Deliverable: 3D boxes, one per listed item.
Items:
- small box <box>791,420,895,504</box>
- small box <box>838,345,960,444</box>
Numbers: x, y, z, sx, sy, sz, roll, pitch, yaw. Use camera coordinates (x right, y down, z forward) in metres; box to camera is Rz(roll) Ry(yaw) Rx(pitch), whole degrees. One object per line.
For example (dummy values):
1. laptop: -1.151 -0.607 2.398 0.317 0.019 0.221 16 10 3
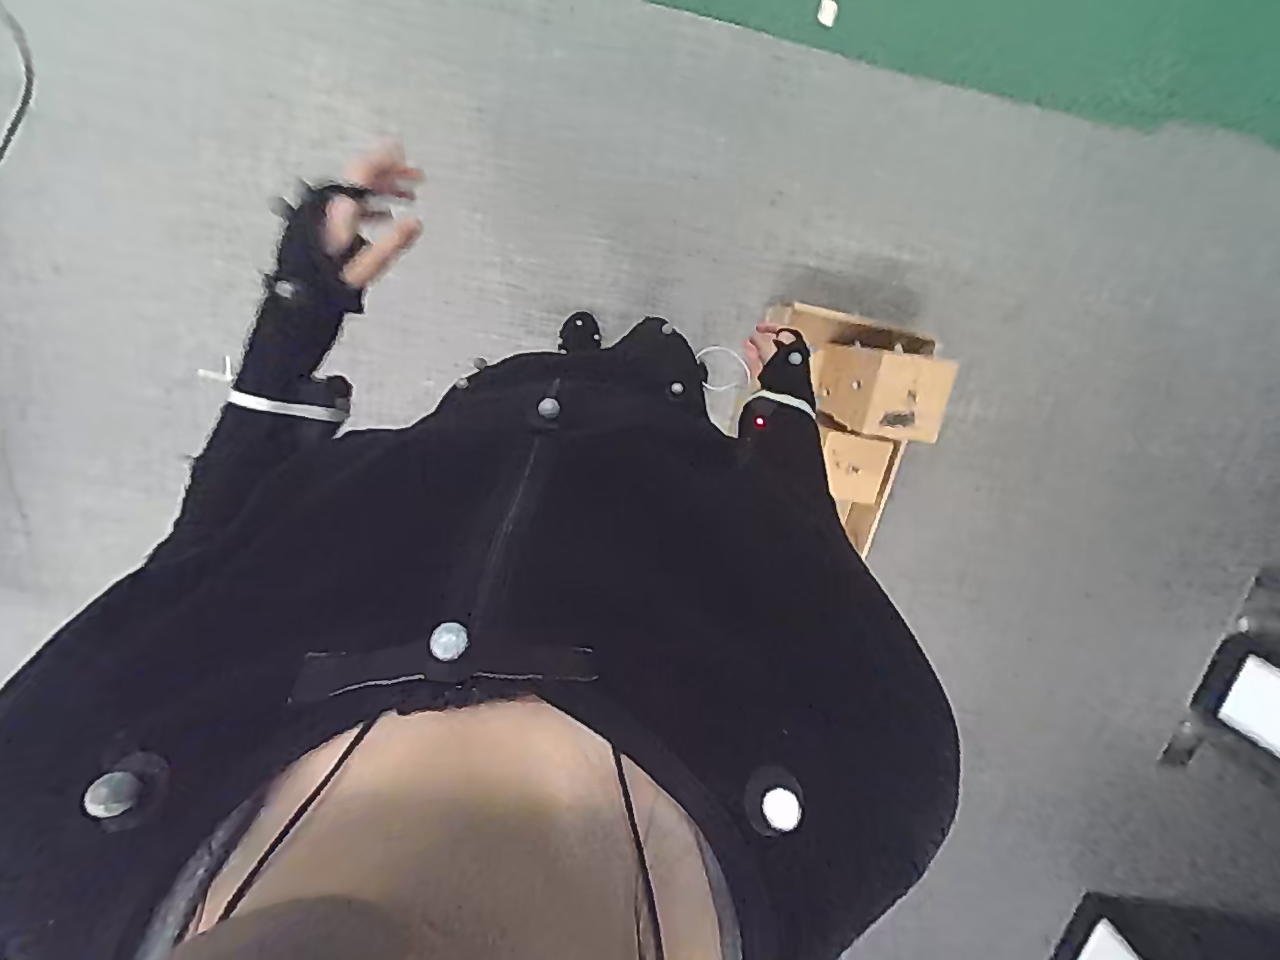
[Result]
1. small box: 0.521 -0.053 1.412 0.179 0.176 0.168 12 105 -6
2. small box: 0.560 -0.194 1.197 0.168 0.176 0.179 8 107 -5
